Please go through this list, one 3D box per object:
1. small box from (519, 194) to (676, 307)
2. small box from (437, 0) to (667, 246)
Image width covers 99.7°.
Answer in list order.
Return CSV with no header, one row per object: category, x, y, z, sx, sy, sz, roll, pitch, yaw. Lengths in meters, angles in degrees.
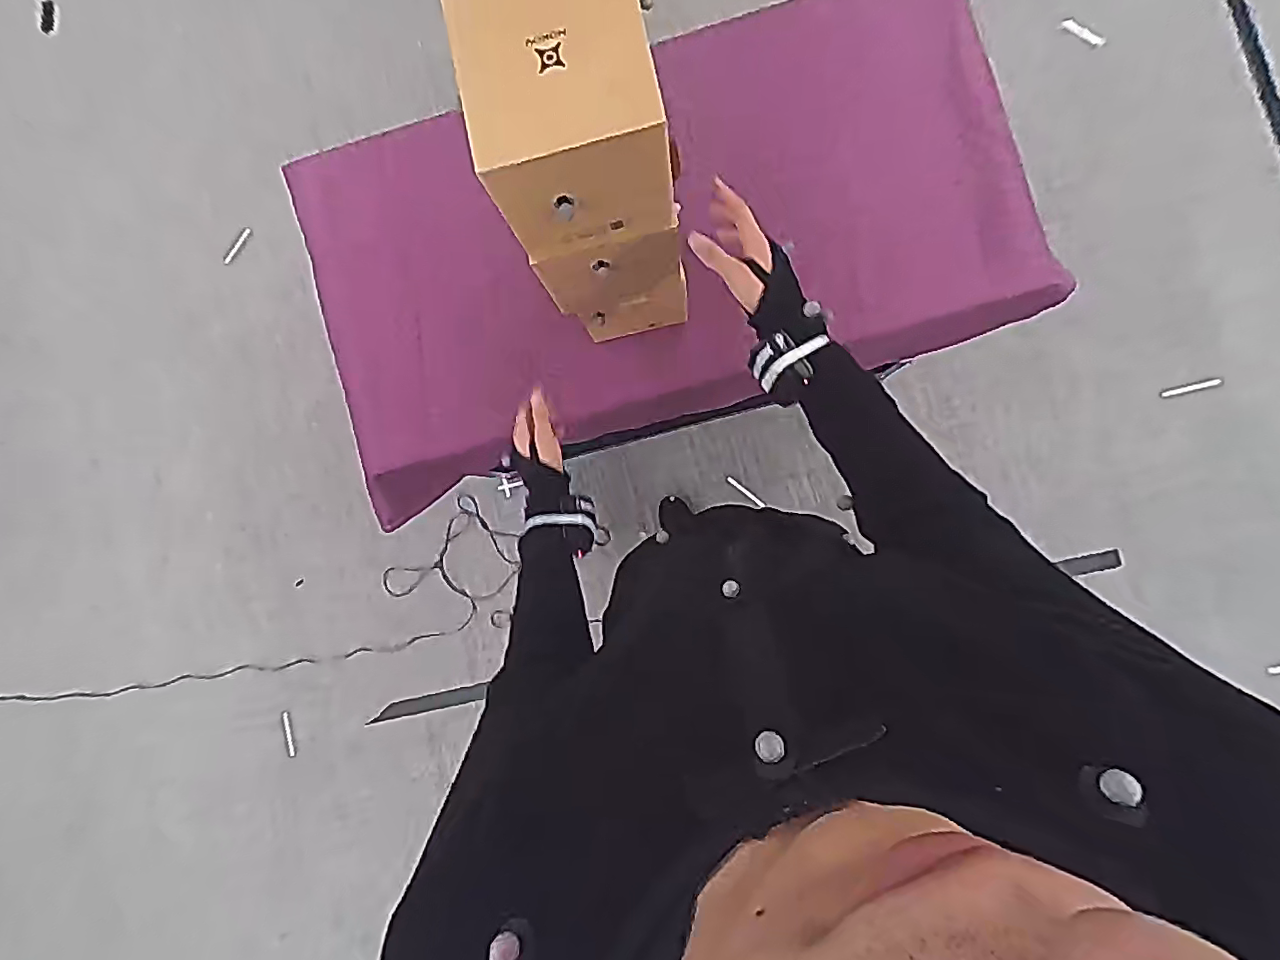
small box,-0.055,-0.340,0.691,0.179,0.176,0.168,-12,87,4
small box,-0.072,-0.354,0.529,0.168,0.176,0.179,-13,85,5
